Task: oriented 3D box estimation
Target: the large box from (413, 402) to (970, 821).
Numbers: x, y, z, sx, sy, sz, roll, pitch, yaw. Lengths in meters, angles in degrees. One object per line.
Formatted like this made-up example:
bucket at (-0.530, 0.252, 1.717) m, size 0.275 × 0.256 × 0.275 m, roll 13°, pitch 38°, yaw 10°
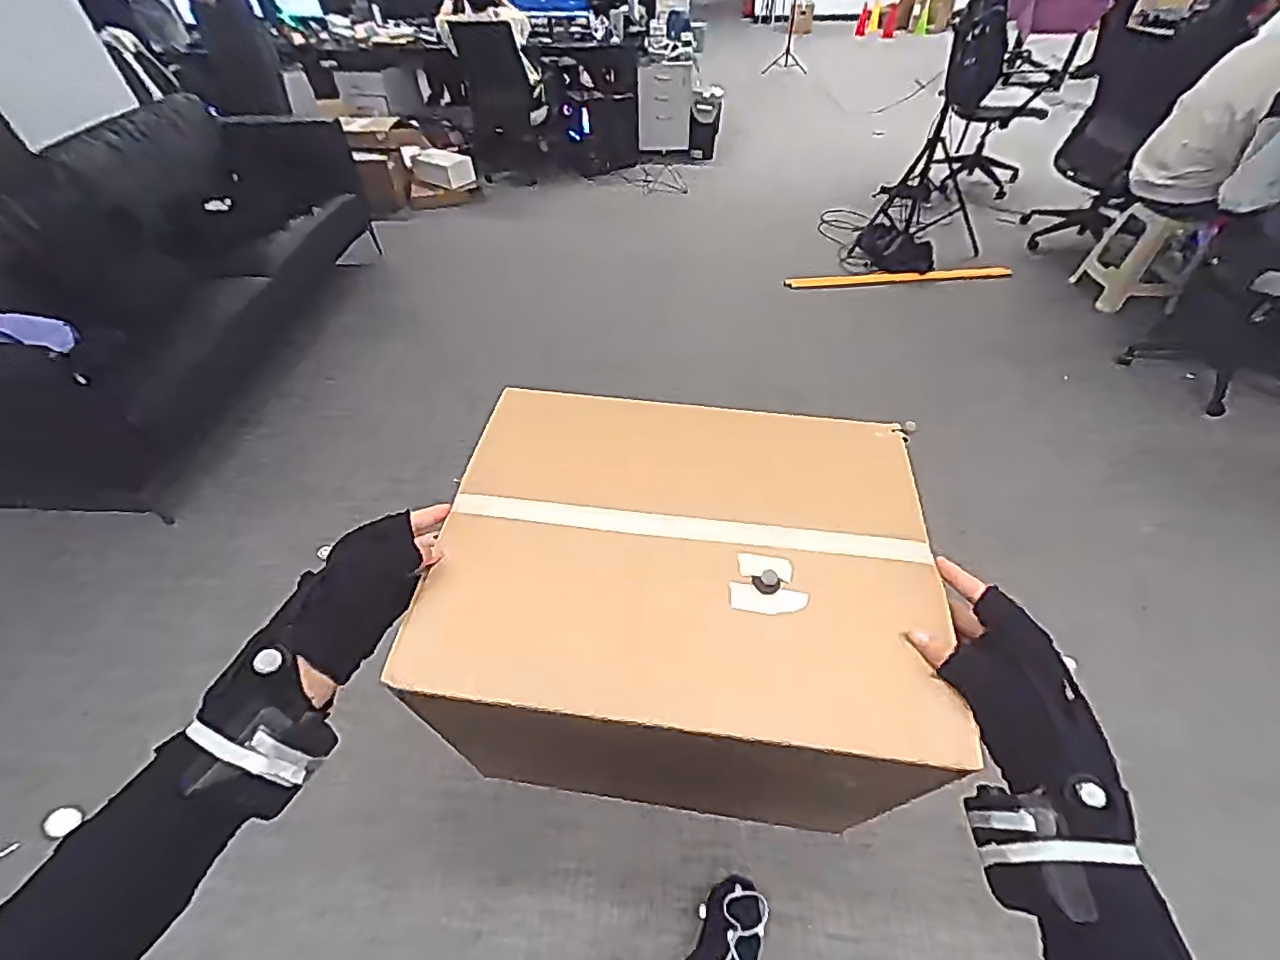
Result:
large box at (0.043, 0.145, 0.586) m, size 0.408 × 0.320 × 0.320 m, roll 6°, pitch 51°, yaw 4°
